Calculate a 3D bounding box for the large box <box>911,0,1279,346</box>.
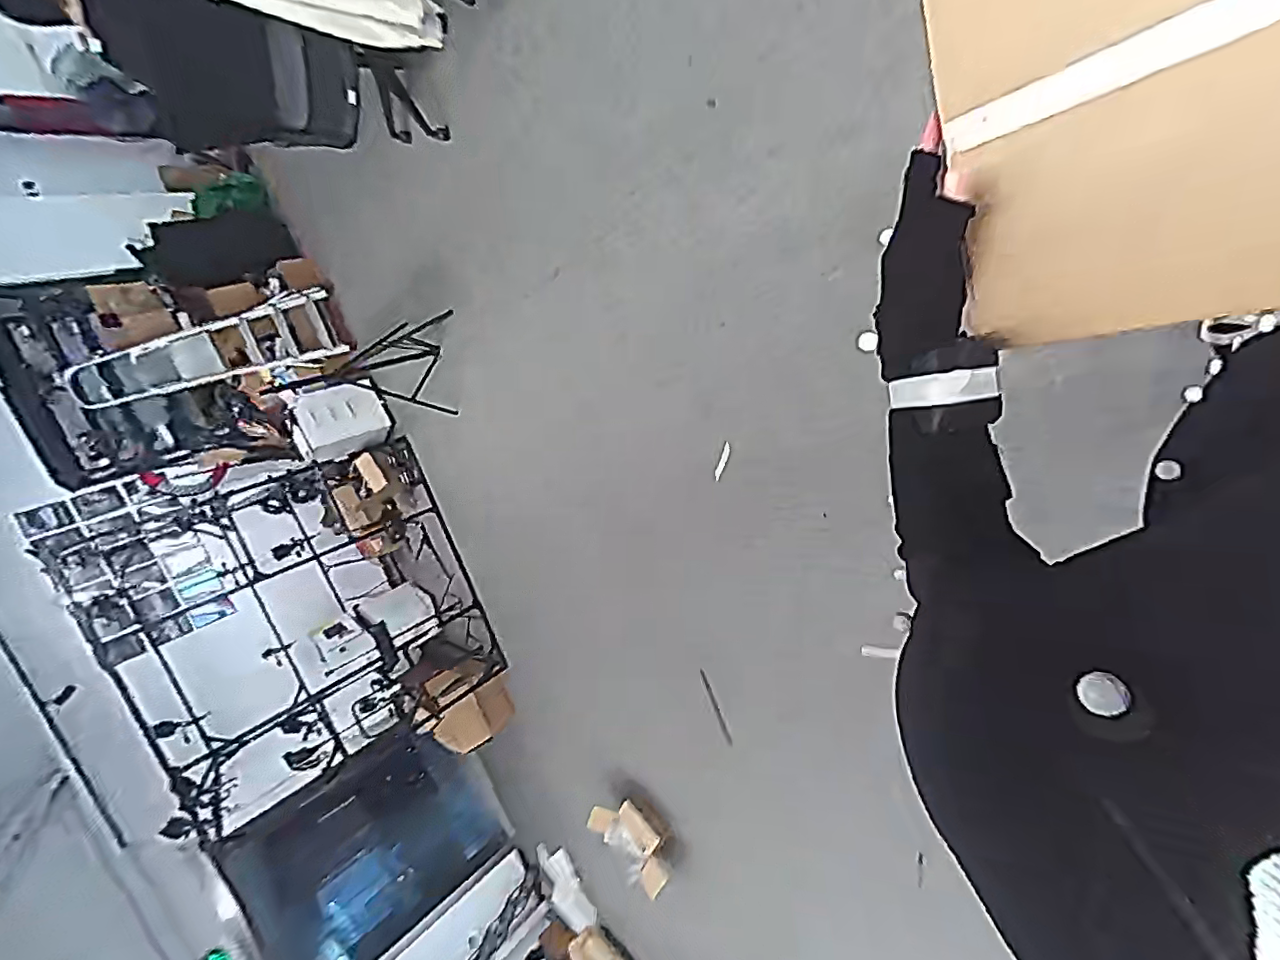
[{"bbox_3d":[0.442,-0.306,0.321,0.408,0.320,0.320,1,115,50],"label":"large box"}]
